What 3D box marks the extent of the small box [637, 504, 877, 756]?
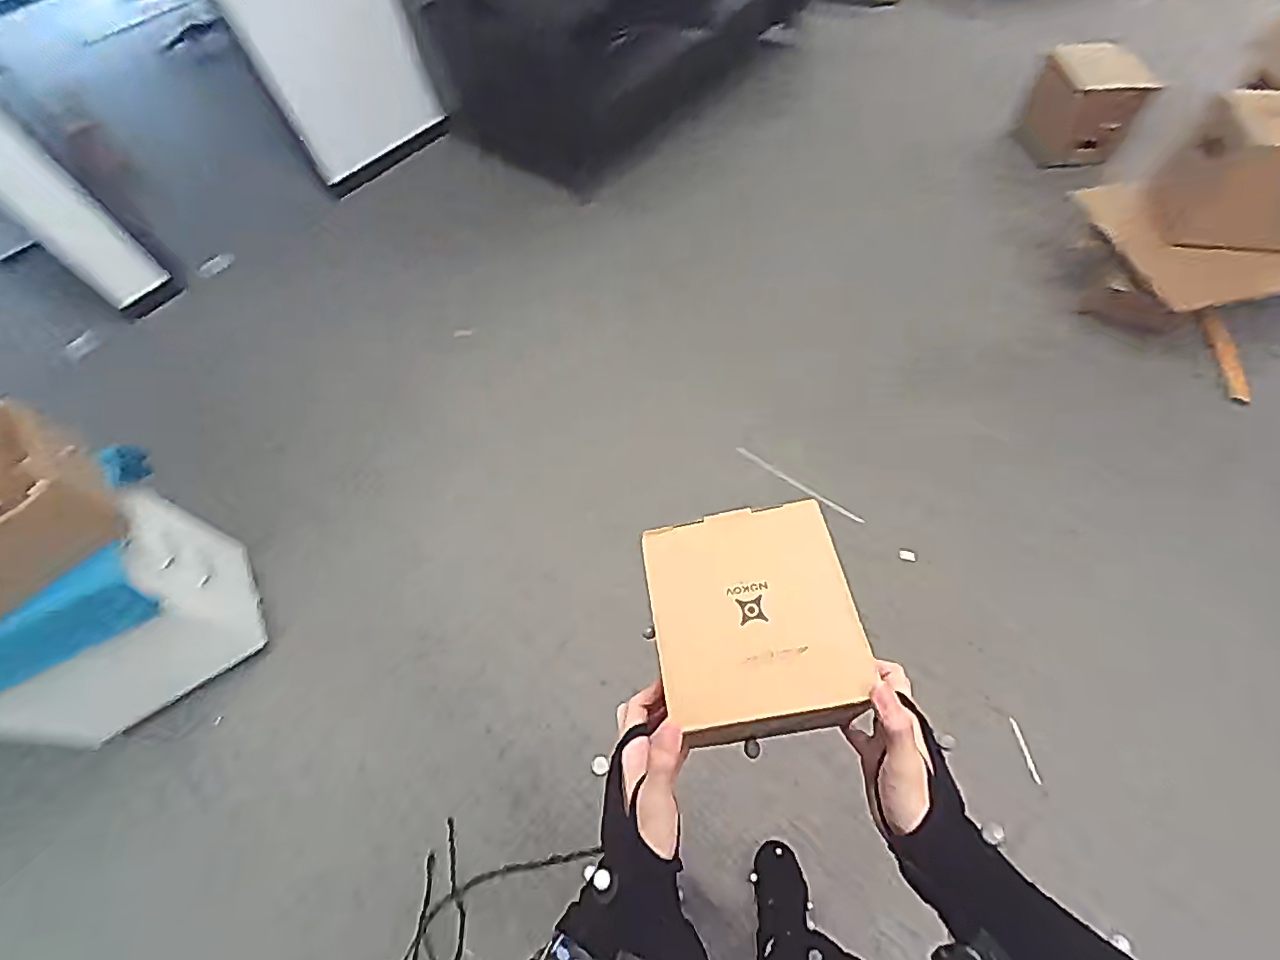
[{"bbox_3d":[0.098,0.150,0.518,0.168,0.176,0.179,-12,58,3],"label":"small box"}]
